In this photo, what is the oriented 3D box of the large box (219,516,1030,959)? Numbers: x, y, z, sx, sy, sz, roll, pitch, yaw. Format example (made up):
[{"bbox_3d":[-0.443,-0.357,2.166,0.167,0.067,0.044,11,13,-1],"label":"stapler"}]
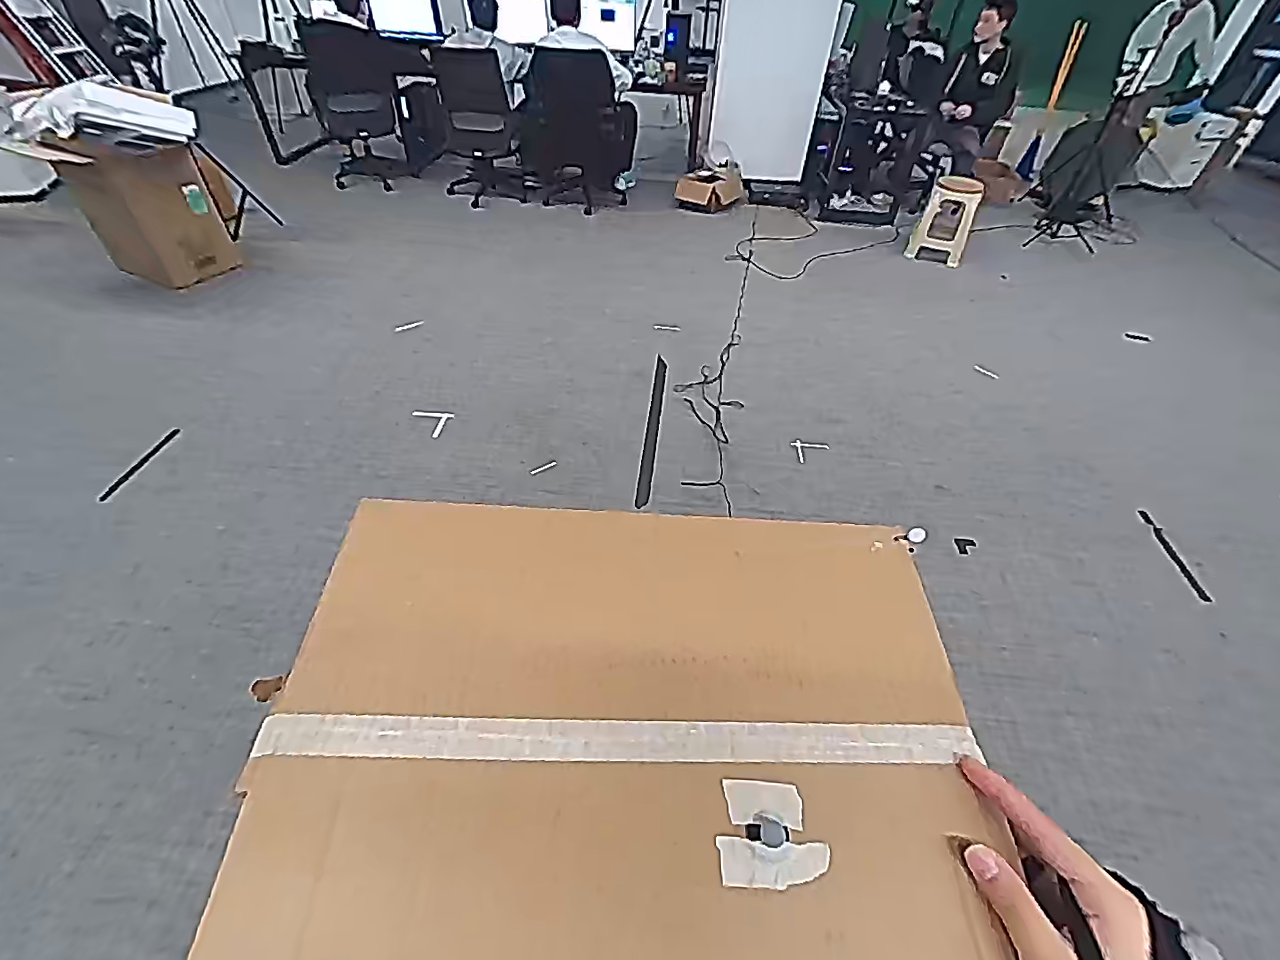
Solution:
[{"bbox_3d":[-0.014,0.247,0.438,0.408,0.320,0.320,4,54,-5],"label":"large box"}]
